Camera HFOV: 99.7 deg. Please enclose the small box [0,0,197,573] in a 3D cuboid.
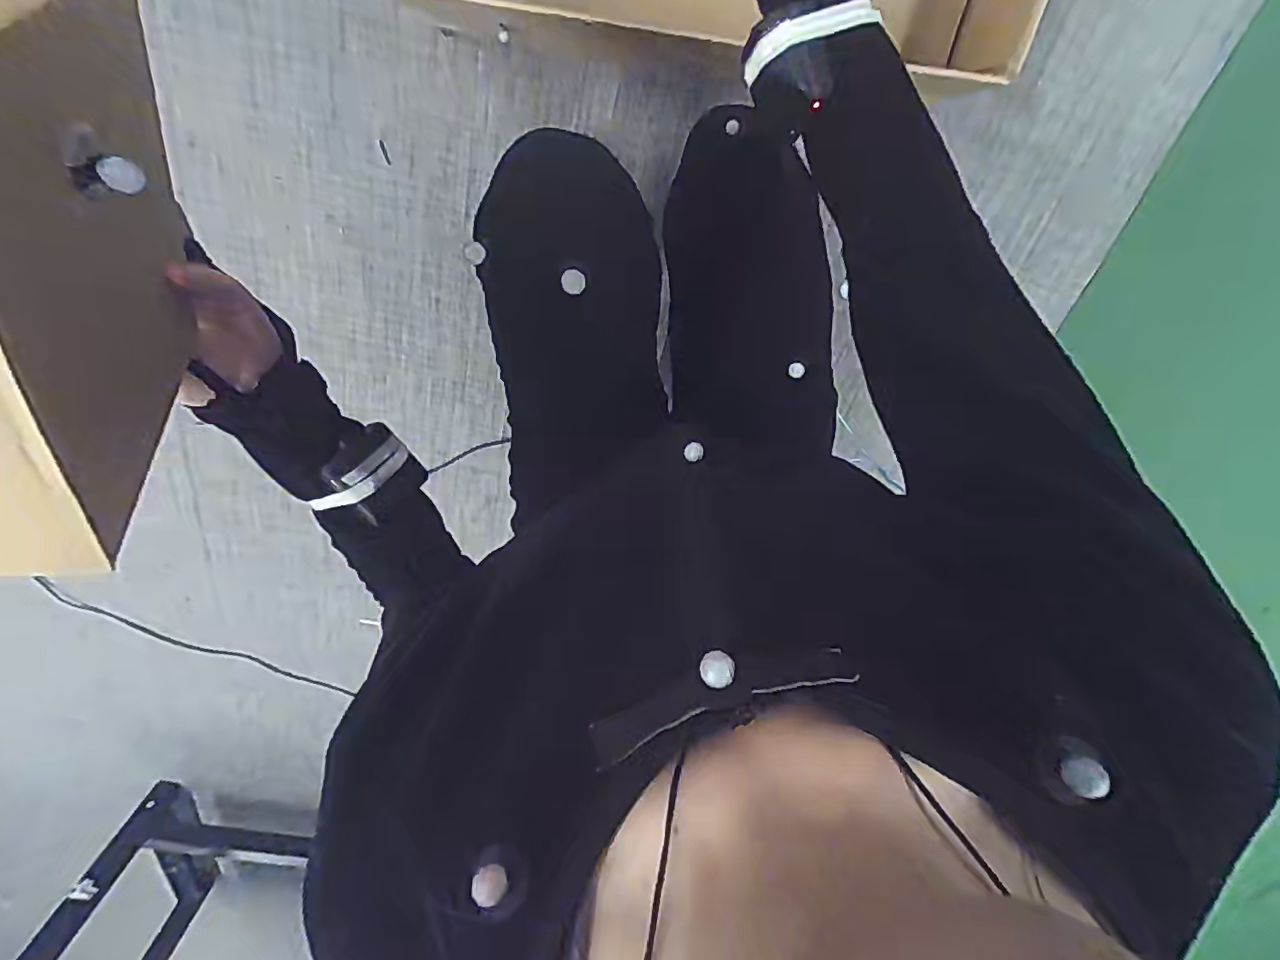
[{"bbox_3d":[-0.281,-0.084,0.184,0.168,0.176,0.179,4,137,-28],"label":"small box"}]
